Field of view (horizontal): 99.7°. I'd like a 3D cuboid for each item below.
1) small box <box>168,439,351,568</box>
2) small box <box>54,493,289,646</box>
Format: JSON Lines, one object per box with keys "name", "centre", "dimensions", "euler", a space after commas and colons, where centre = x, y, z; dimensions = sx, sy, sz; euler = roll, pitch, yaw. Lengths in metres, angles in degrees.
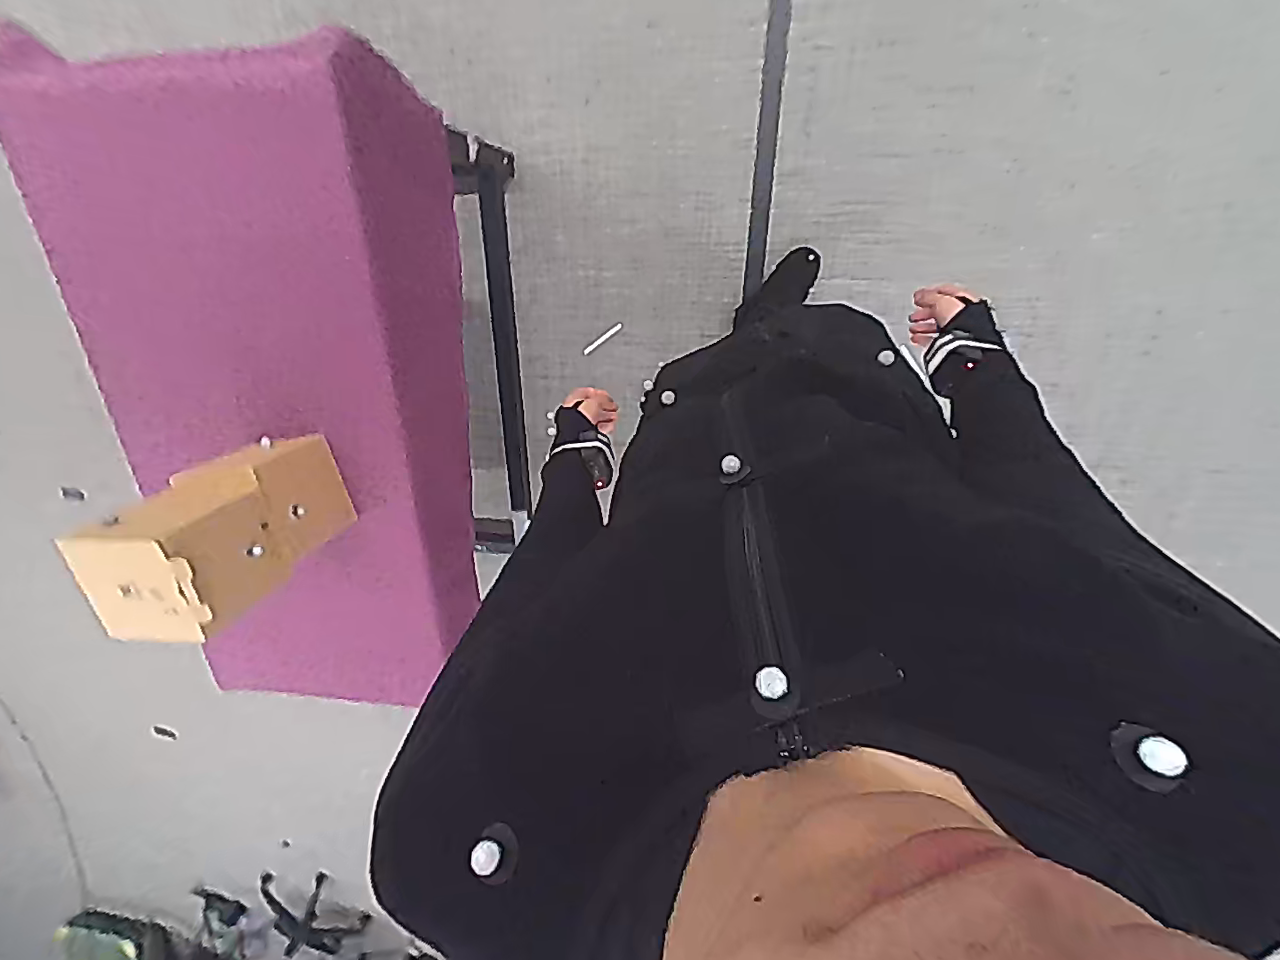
{"name": "small box", "centre": [-0.650, 0.042, 0.950], "dimensions": [0.168, 0.176, 0.179], "euler": [-7, 111, 12]}
{"name": "small box", "centre": [-0.681, 0.126, 0.809], "dimensions": [0.179, 0.176, 0.168], "euler": [-2, 113, 10]}
